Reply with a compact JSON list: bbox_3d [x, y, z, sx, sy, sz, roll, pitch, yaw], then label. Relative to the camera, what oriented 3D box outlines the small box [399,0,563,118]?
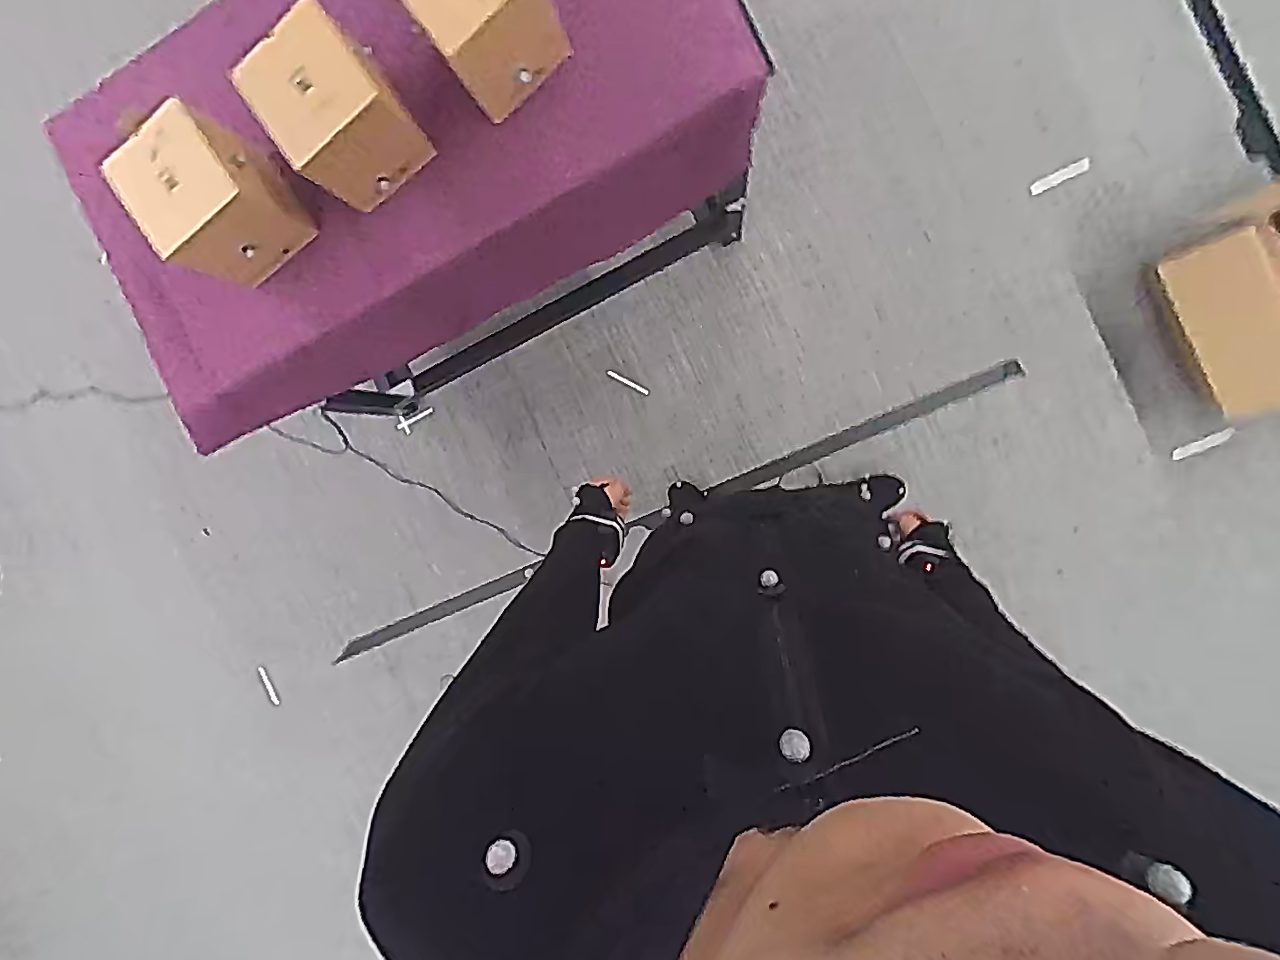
[{"bbox_3d":[-0.243,-0.697,0.804,0.168,0.176,0.179,-39,89,9],"label":"small box"}]

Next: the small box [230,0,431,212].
[{"bbox_3d":[-0.471,-0.566,0.848,0.168,0.176,0.179,-35,89,10],"label":"small box"}]

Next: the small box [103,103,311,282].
[{"bbox_3d":[-0.693,-0.450,0.887,0.168,0.176,0.179,-34,89,9],"label":"small box"}]
